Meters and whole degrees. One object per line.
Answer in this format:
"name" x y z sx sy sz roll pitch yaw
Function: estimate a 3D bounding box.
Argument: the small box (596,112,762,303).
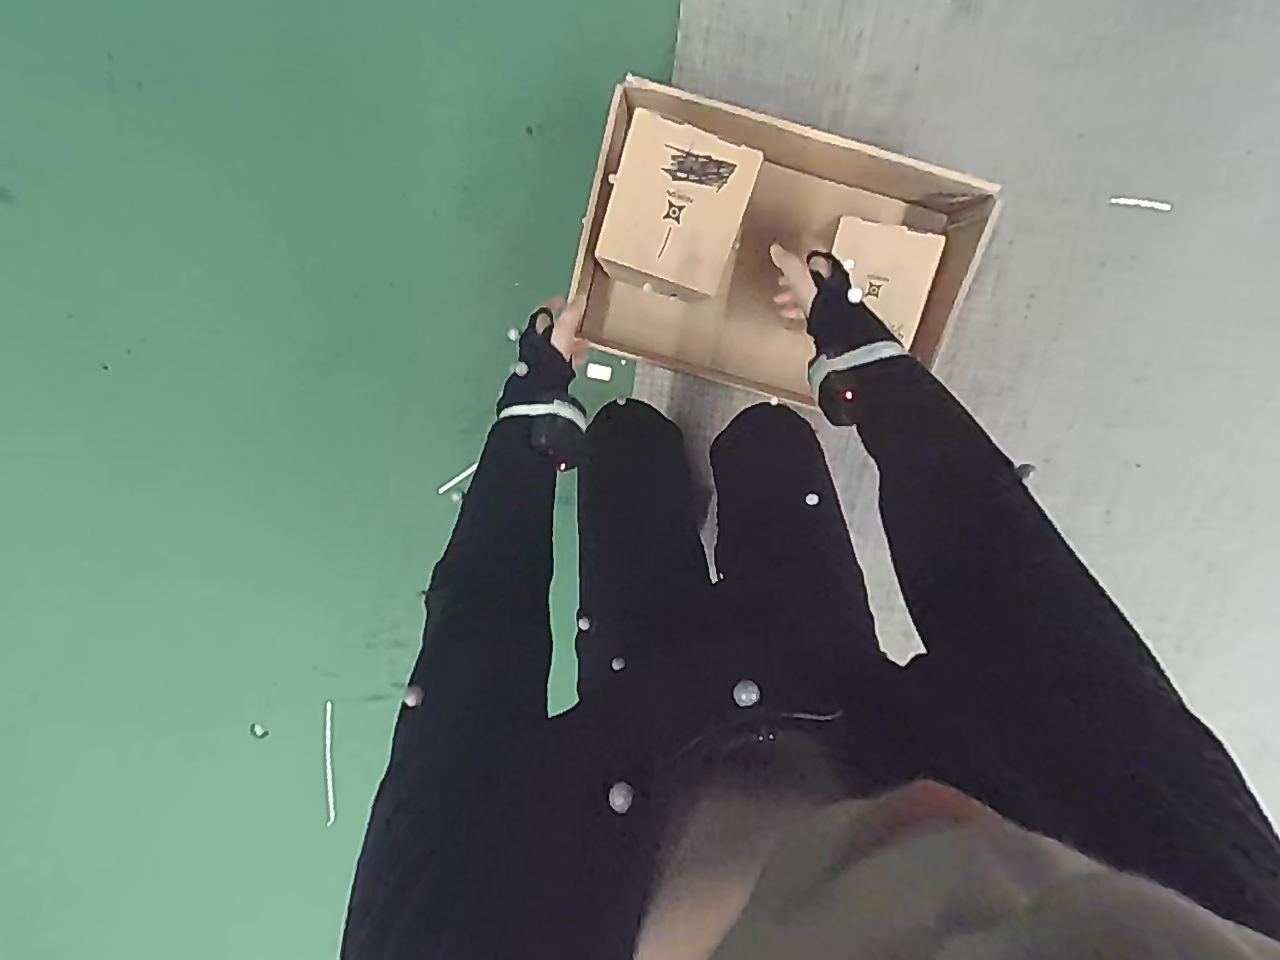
"small box" 0.046 -0.356 0.743 0.168 0.176 0.179 18 106 -4
